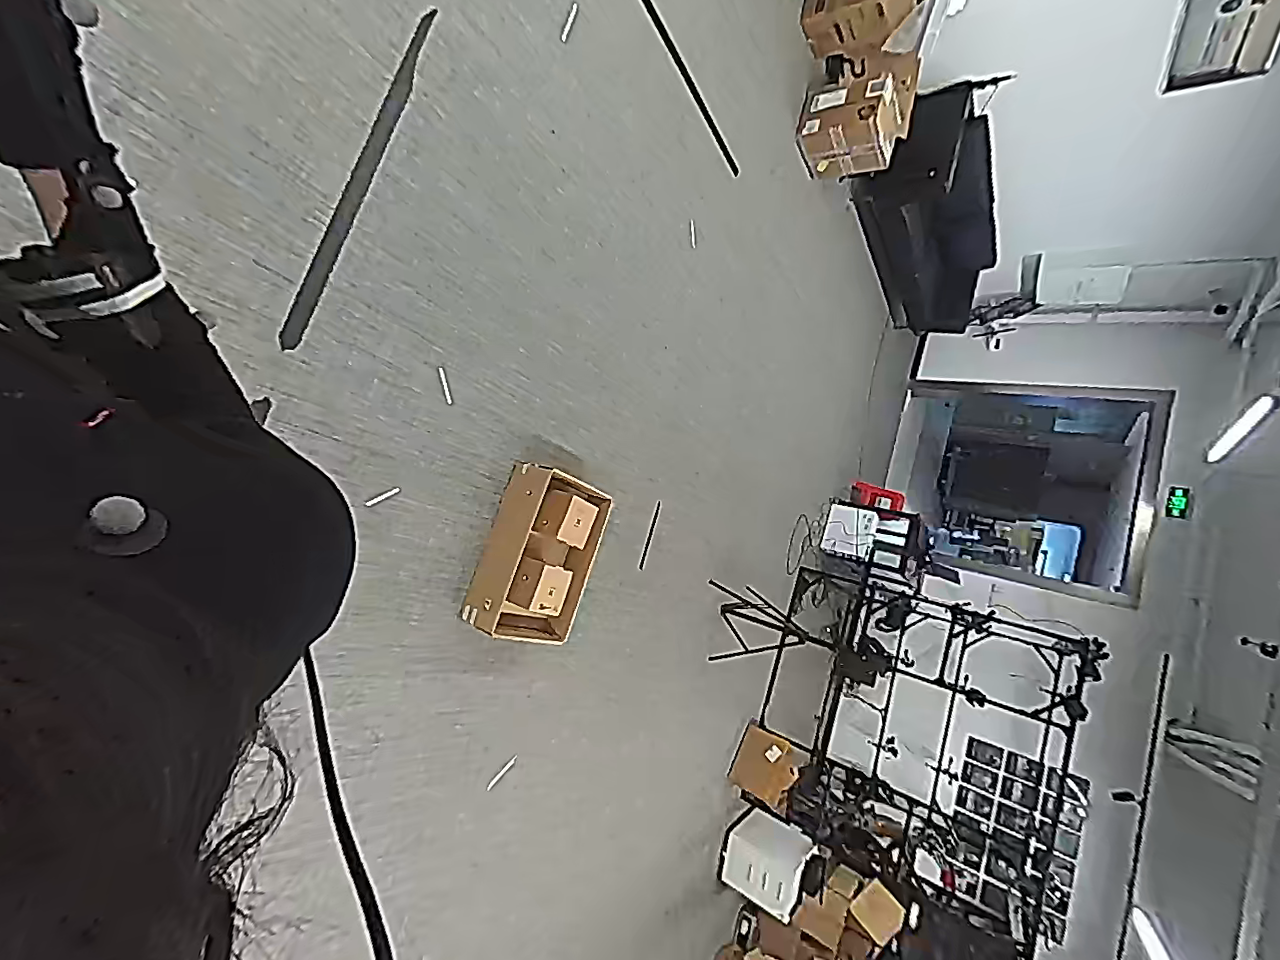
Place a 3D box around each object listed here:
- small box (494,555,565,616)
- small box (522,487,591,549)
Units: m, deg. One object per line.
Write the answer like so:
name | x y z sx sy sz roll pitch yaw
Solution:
small box | -0.414 0.391 2.016 0.168 0.176 0.179 33 70 -52
small box | -0.323 0.144 2.070 0.168 0.176 0.179 36 71 -52
